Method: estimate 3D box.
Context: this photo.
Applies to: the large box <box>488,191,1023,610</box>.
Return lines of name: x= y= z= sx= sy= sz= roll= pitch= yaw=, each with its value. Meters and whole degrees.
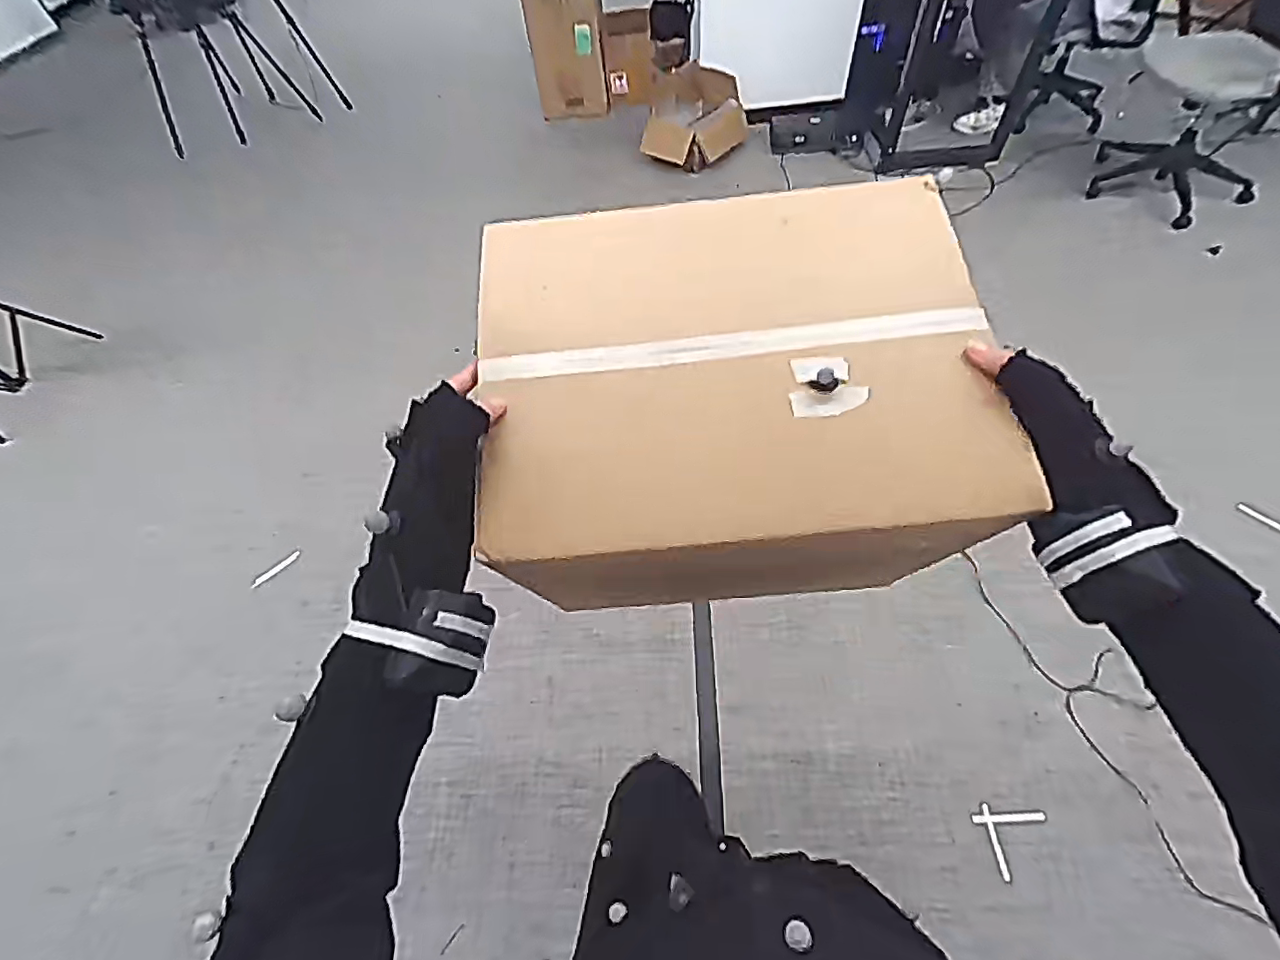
large box: x=0.078 y=-0.052 z=0.588 sx=0.408 sy=0.320 sz=0.320 roll=-6 pitch=70 yaw=2
